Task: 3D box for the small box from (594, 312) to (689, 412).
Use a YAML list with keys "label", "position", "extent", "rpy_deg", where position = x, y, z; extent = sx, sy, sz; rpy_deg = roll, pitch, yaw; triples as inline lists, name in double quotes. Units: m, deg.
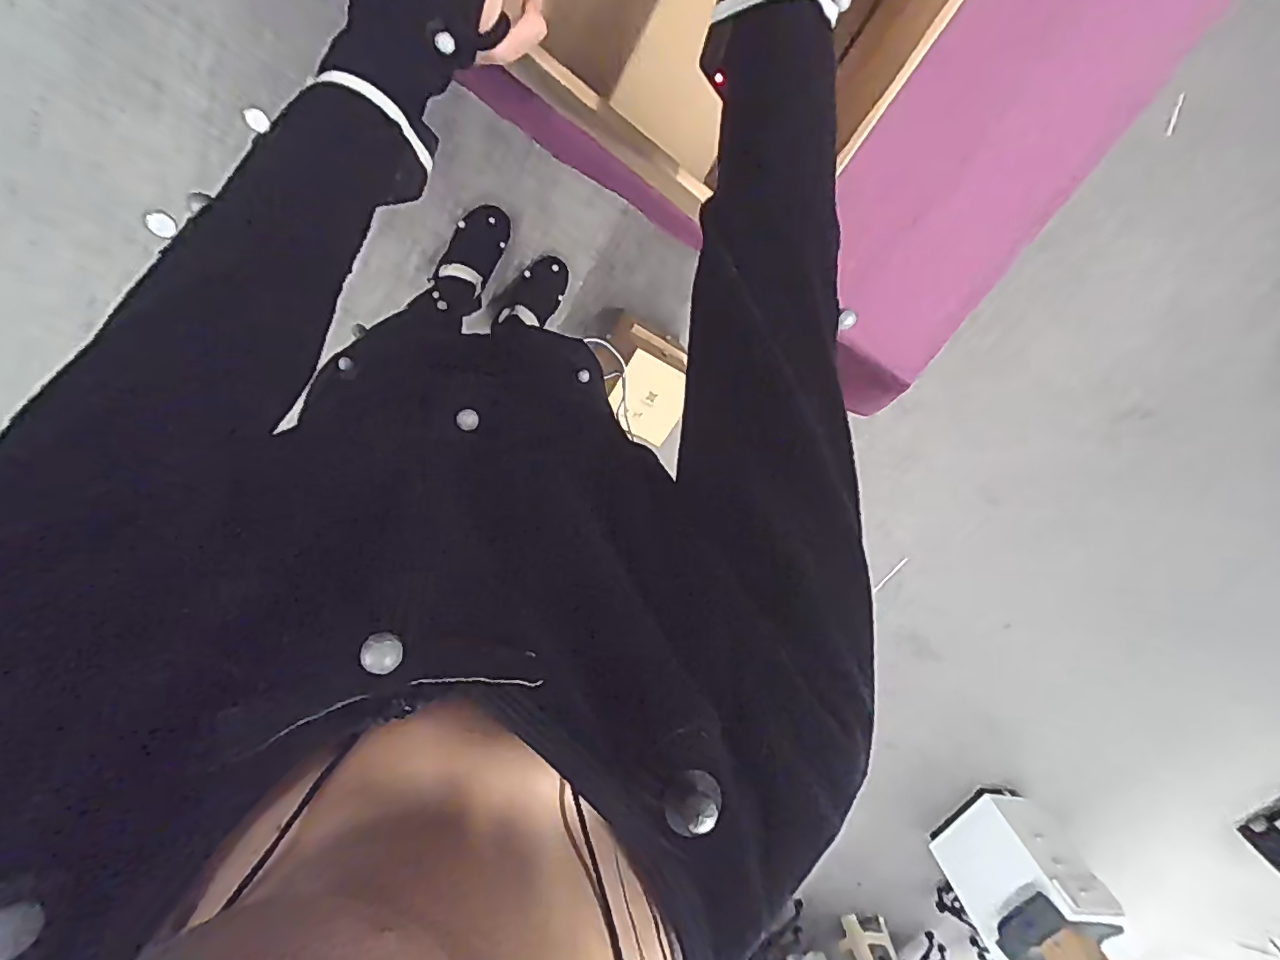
- label: "small box"
  position: [-0.003, -0.309, 1.386]
  extent: [0.179, 0.176, 0.168]
  rpy_deg: [26, 111, -22]
